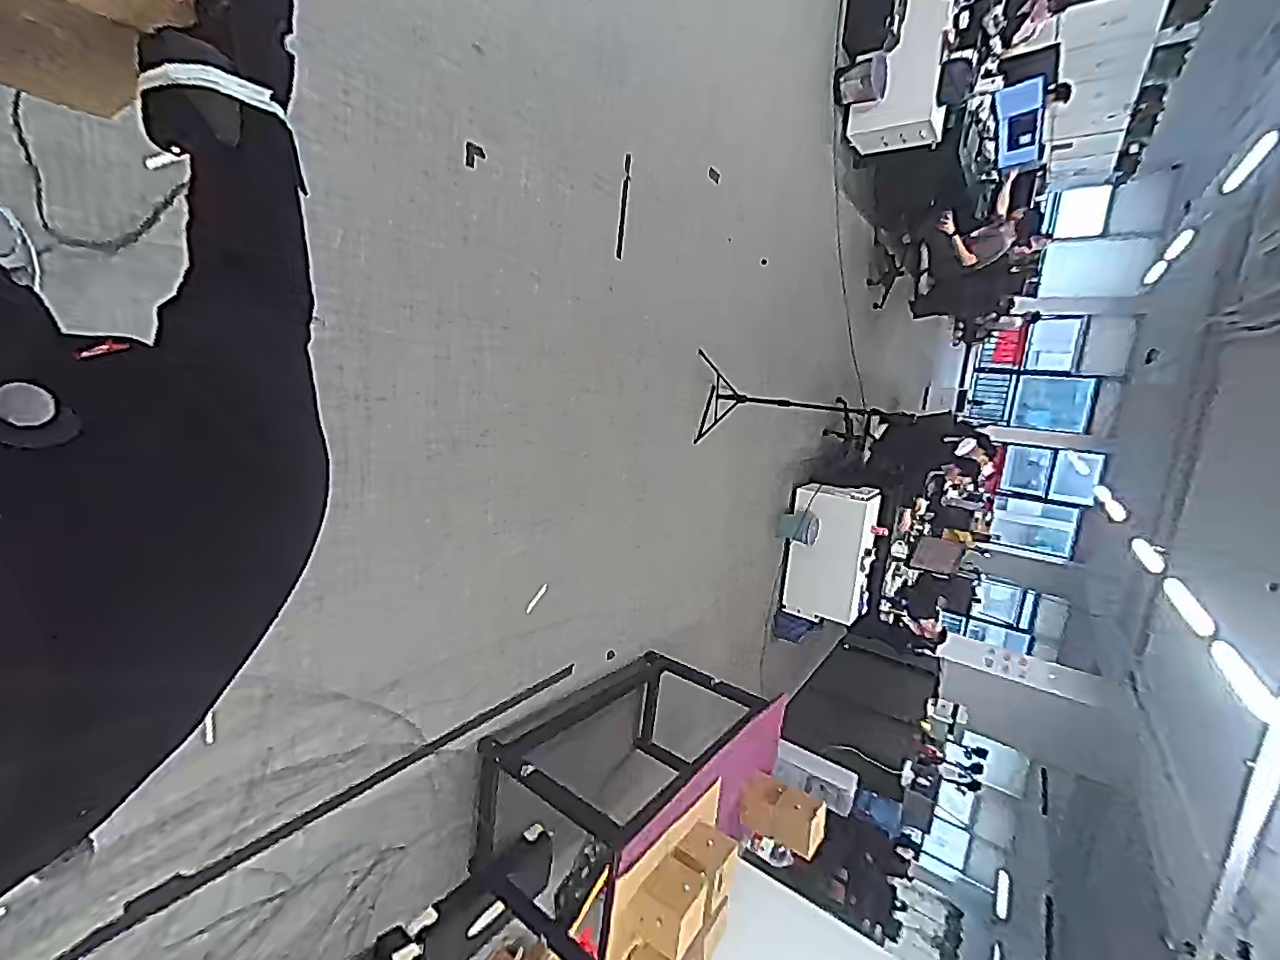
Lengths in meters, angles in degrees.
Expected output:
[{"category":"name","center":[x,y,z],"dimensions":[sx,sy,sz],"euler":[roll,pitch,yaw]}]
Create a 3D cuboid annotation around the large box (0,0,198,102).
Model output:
[{"category":"large box","center":[-0.540,-0.485,0.293],"dimensions":[0.408,0.320,0.320],"euler":[-6,110,-53]}]
